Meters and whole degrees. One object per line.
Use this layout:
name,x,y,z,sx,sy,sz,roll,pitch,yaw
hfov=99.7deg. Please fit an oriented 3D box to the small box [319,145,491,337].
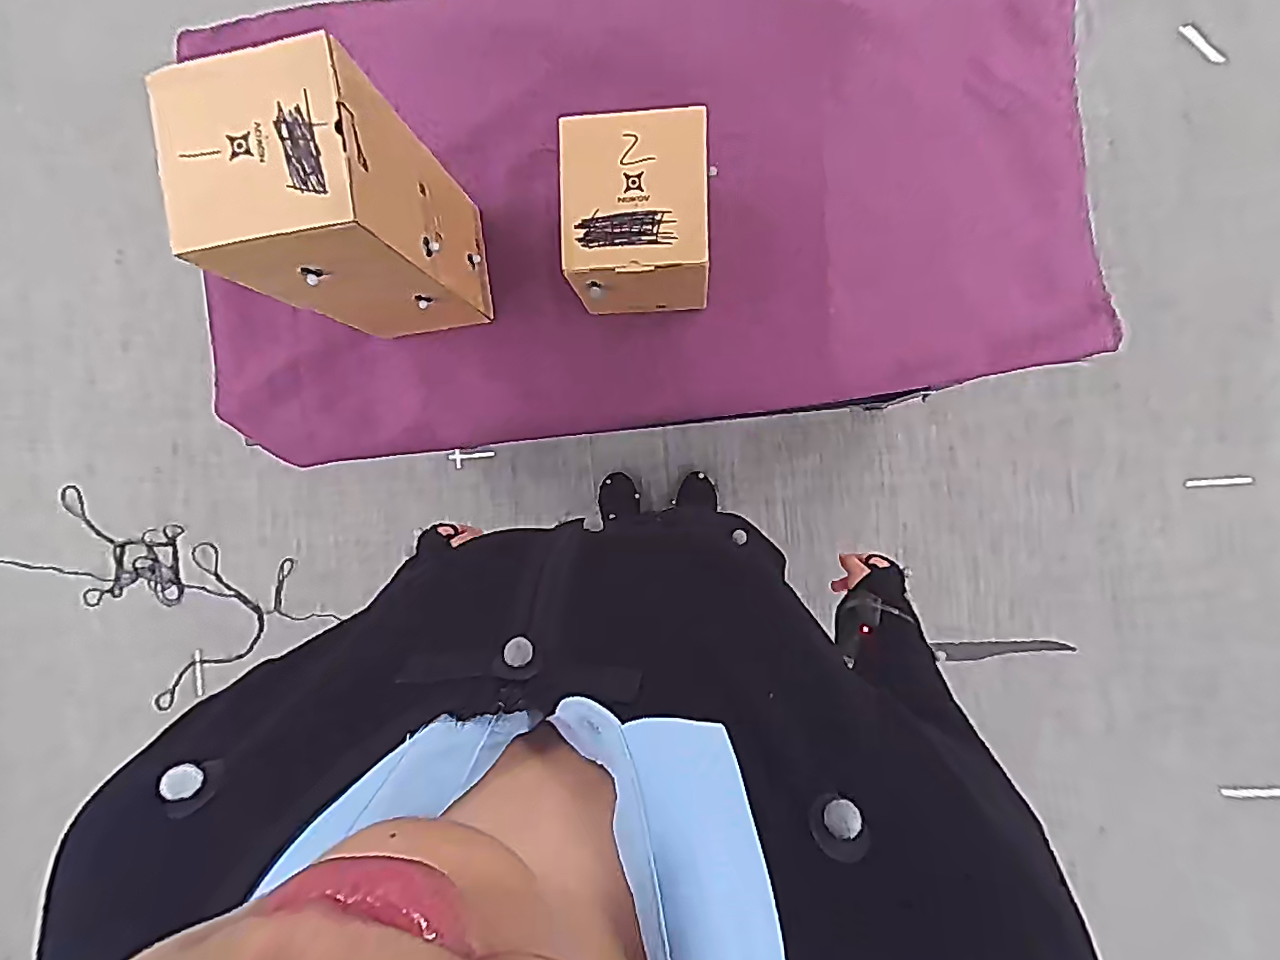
small box,-0.317,-0.298,0.713,0.179,0.176,0.168,-8,91,5

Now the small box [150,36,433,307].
small box,-0.329,-0.290,0.549,0.179,0.176,0.168,-8,90,5
